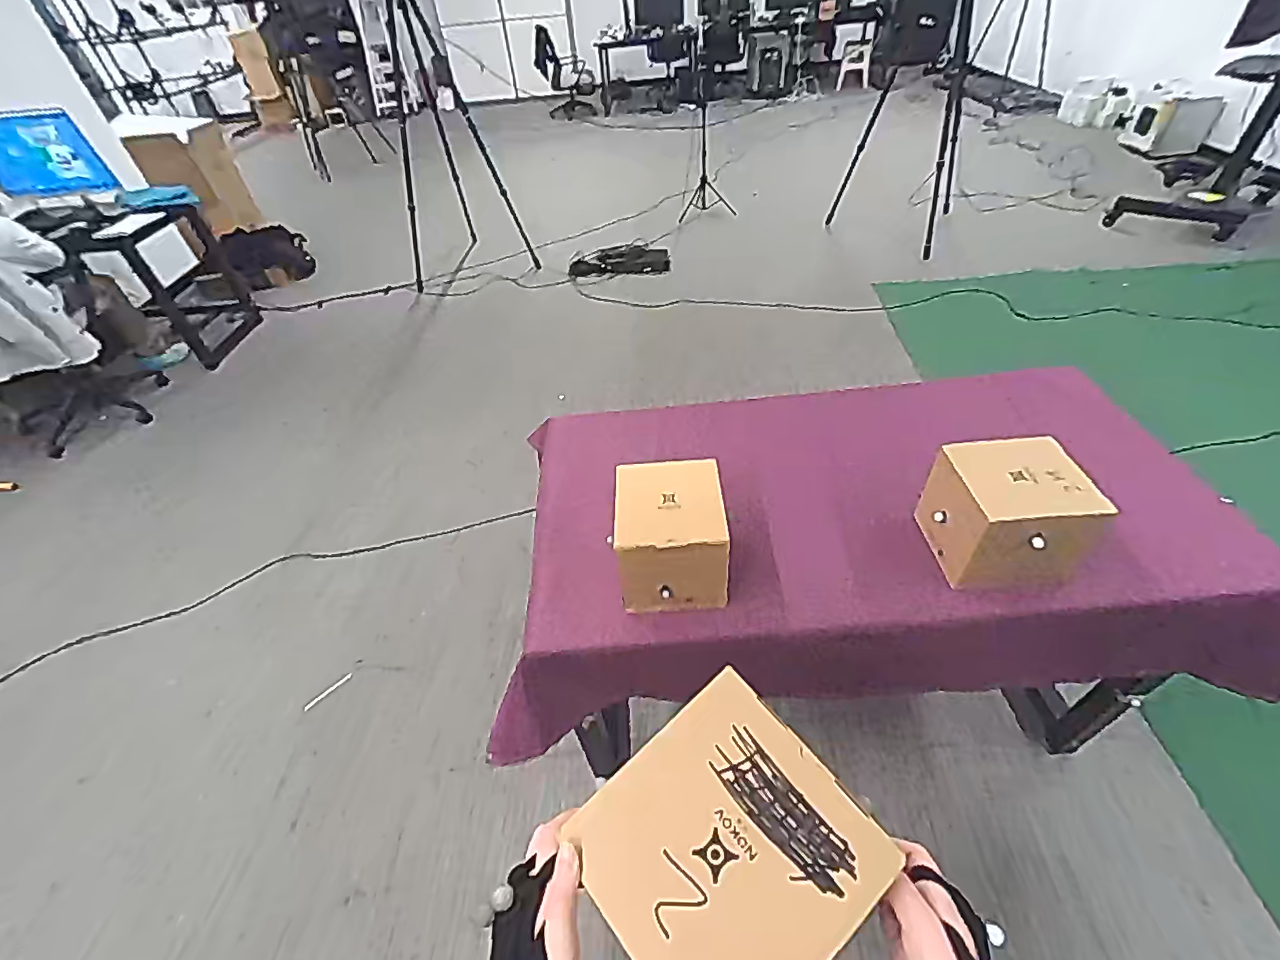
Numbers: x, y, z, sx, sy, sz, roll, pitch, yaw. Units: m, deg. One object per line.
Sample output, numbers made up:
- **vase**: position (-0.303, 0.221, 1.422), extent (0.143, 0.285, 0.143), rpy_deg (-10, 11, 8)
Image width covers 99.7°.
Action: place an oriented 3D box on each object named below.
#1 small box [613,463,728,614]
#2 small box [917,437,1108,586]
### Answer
- **small box**: position (0.046, 0.095, 0.880), extent (0.168, 0.176, 0.179), rpy_deg (-4, 44, 2)
- **small box**: position (0.566, 0.053, 0.858), extent (0.179, 0.176, 0.168), rpy_deg (-4, 44, 2)
